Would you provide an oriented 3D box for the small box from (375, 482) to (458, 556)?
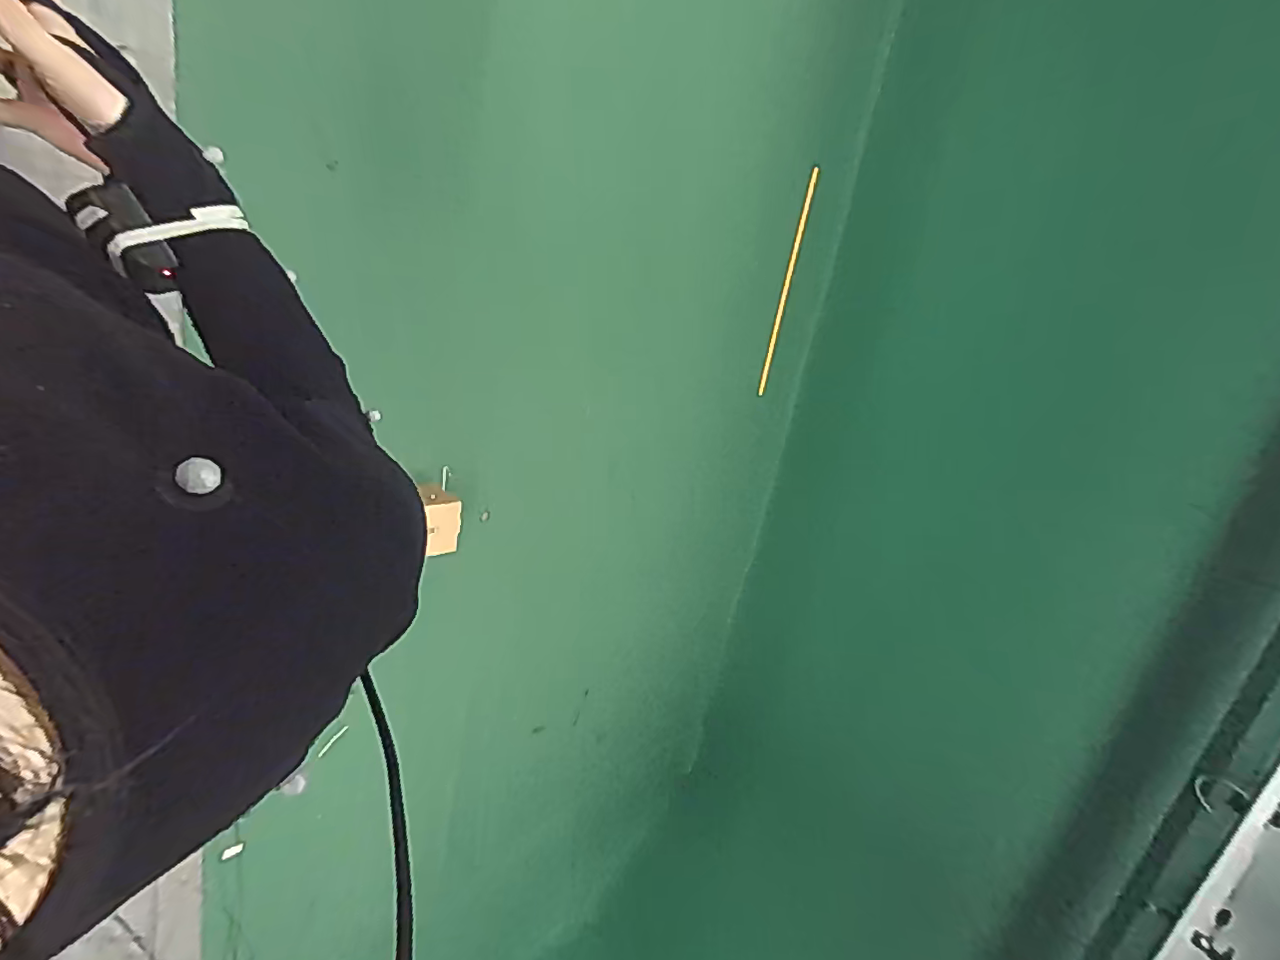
[{"bbox_3d":[-0.686,0.113,1.652,0.179,0.176,0.168,-7,114,-51],"label":"small box"}]
